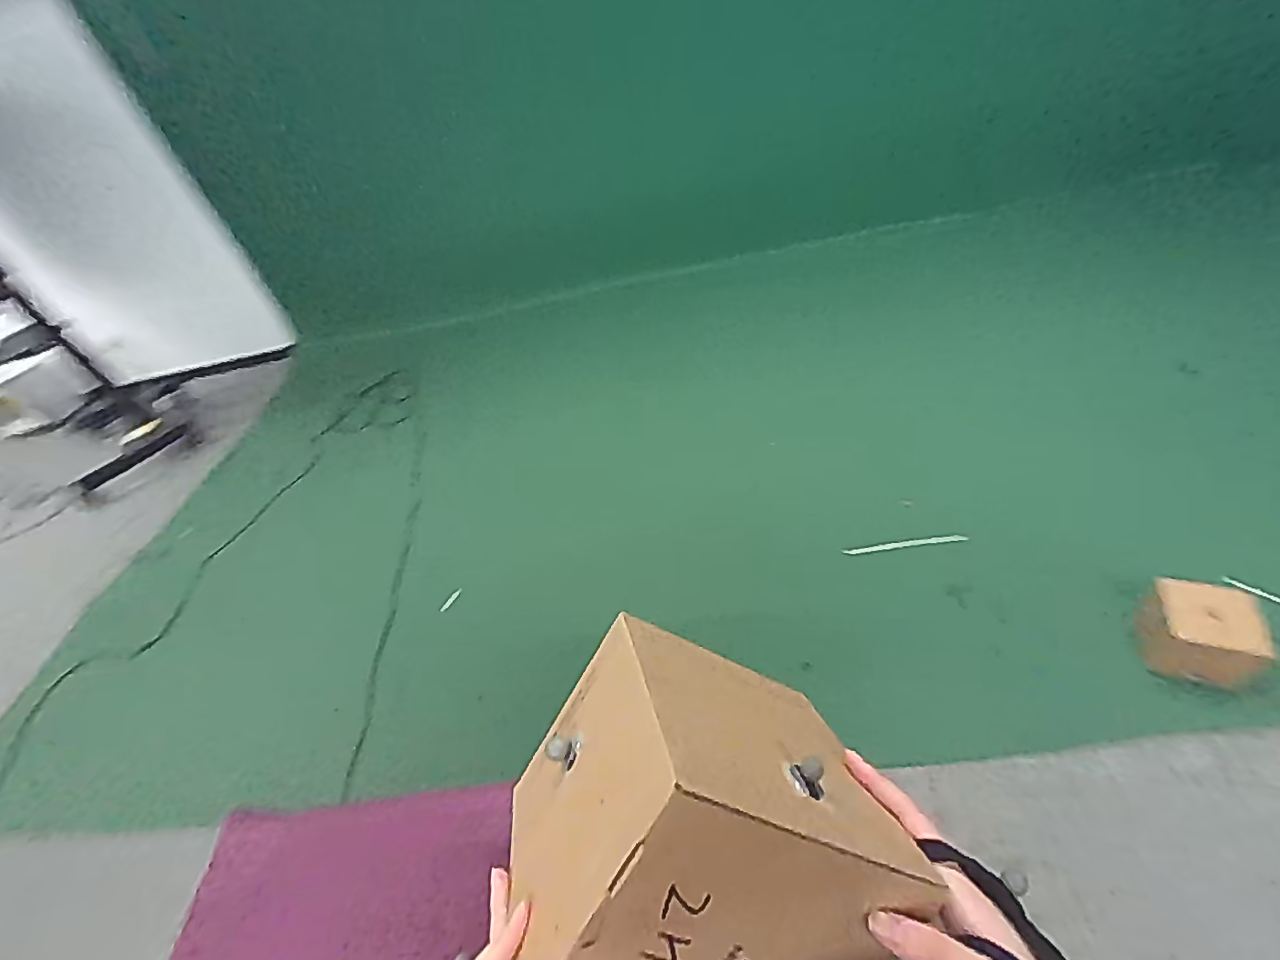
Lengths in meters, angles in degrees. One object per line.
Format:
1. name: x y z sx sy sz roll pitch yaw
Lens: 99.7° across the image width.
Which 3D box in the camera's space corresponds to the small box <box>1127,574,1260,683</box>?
1. small box: 1.346 0.365 1.332 0.168 0.176 0.179 8 47 25
